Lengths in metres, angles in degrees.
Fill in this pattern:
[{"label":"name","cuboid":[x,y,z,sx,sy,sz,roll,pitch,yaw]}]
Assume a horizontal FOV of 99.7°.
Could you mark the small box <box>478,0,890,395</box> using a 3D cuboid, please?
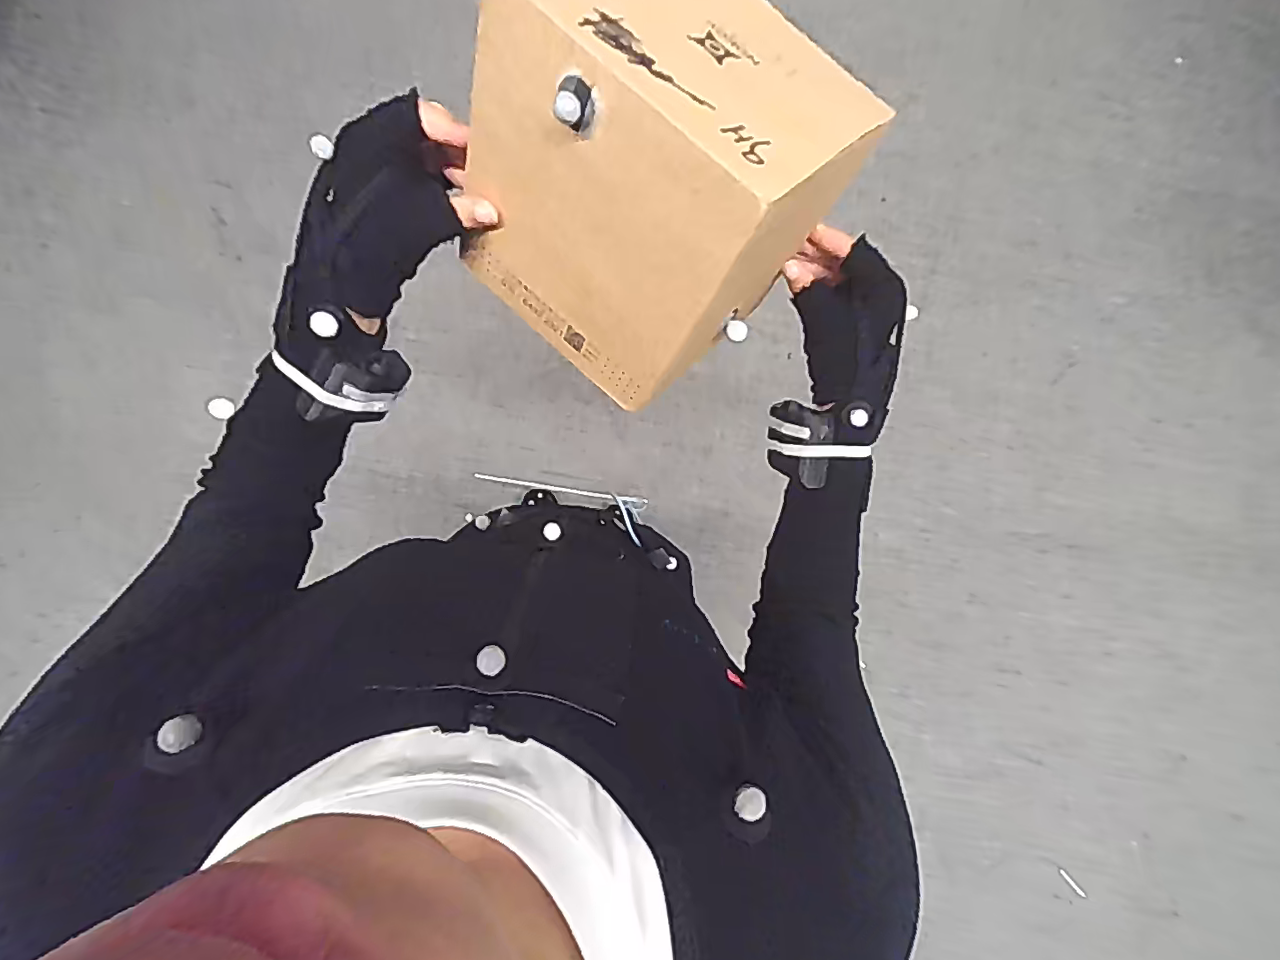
[{"label":"small box","cuboid":[0.017,-0.191,0.351,0.168,0.176,0.179,42,55,3]}]
